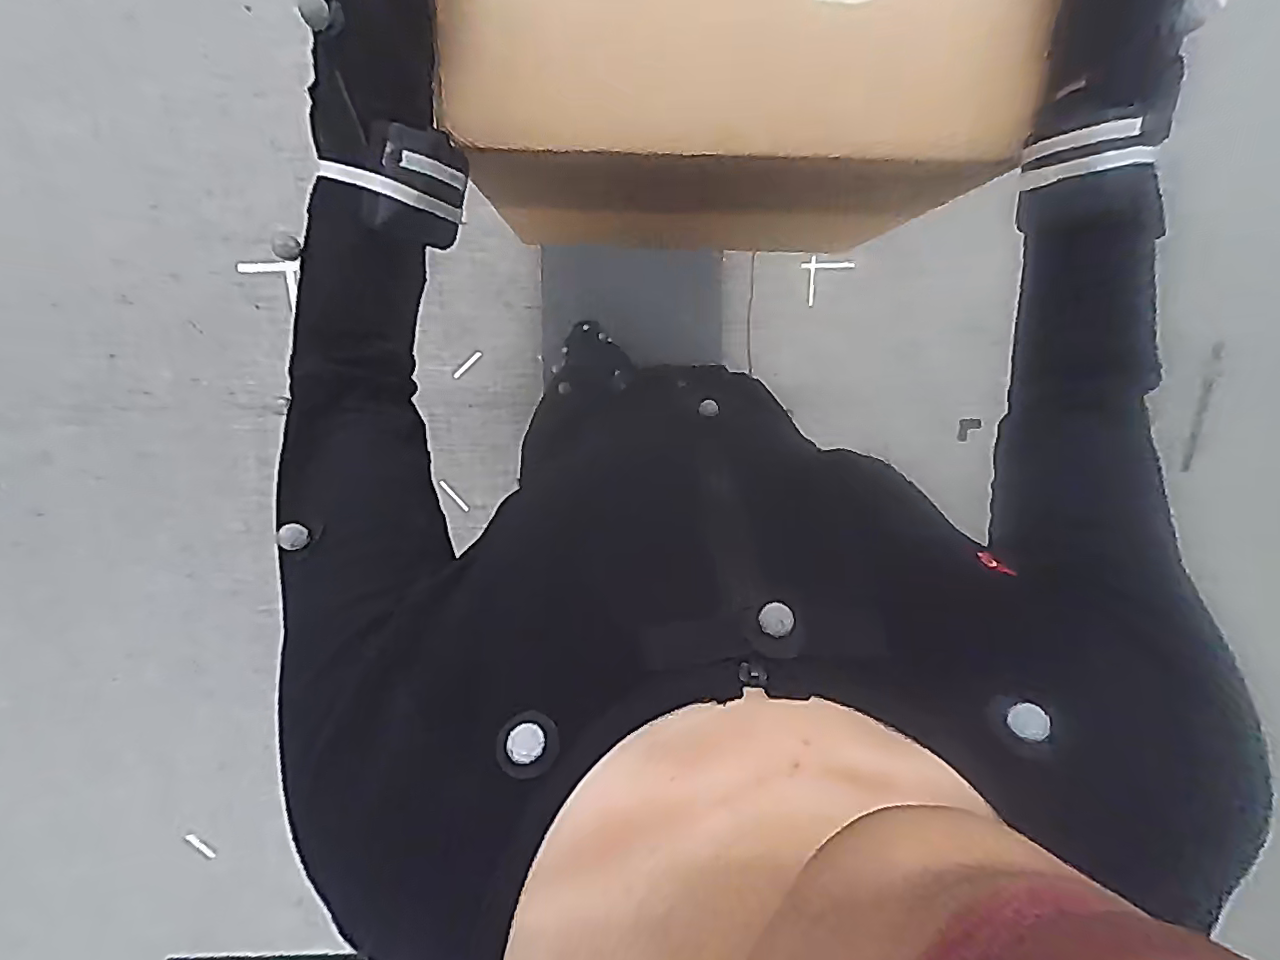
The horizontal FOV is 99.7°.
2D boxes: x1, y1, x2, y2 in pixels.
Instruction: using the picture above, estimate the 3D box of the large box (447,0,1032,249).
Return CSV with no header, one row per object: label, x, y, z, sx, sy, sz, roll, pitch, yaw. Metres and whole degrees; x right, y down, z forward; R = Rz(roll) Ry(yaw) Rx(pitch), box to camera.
large box,0.062,-0.410,0.497,0.408,0.320,0.320,0,102,-3
